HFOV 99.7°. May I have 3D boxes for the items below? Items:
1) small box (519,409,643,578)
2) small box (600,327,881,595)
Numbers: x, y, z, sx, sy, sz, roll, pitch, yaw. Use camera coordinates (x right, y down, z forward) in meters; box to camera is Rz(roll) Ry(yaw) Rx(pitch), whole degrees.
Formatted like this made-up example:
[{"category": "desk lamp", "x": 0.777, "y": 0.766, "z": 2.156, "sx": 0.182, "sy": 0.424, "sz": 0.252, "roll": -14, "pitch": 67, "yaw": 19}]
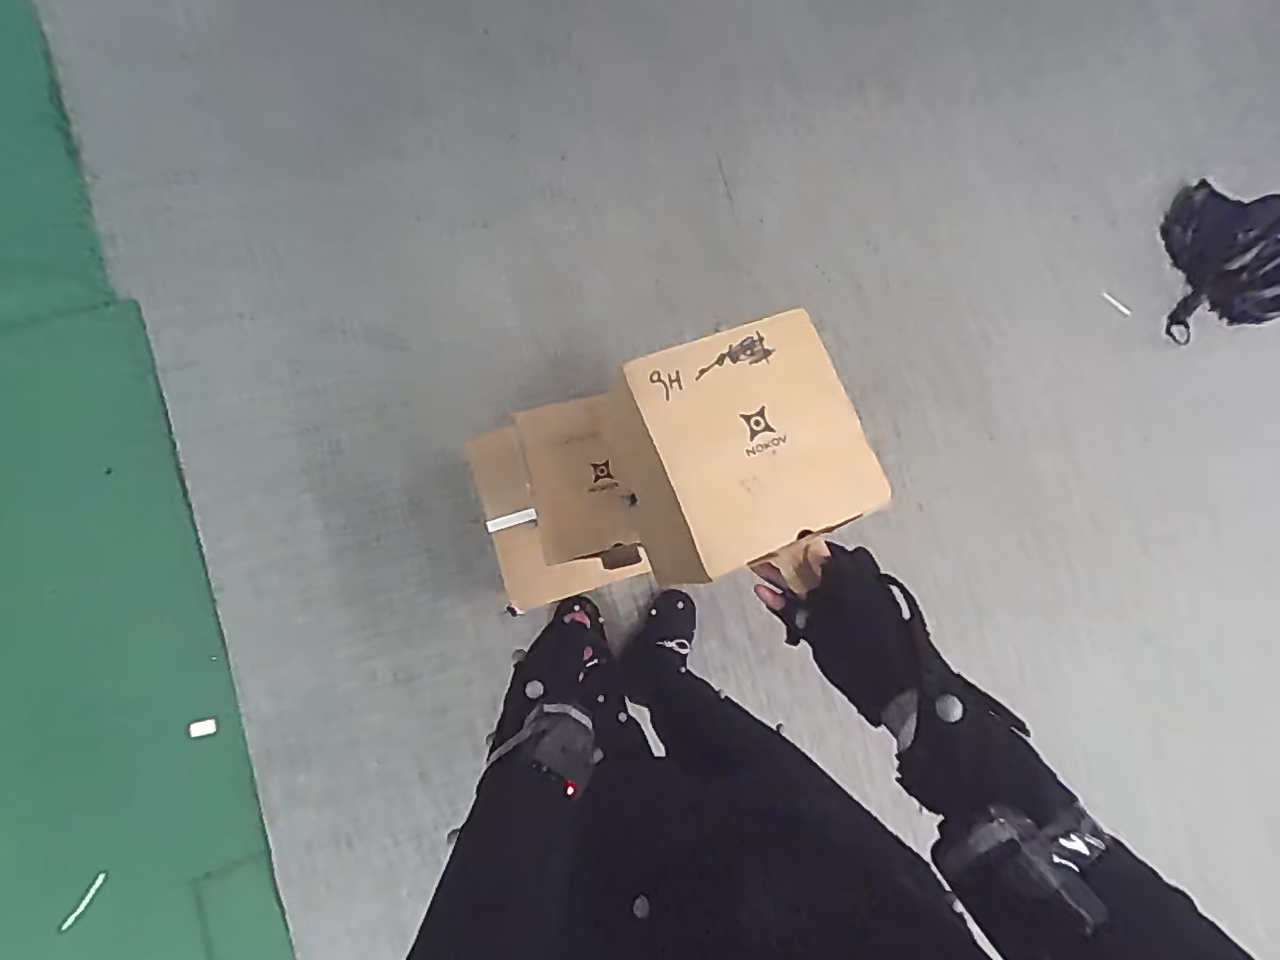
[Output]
[{"category": "small box", "x": -0.051, "y": 0.009, "z": 0.689, "sx": 0.168, "sy": 0.176, "sz": 0.179, "roll": -13, "pitch": 91, "yaw": -10}, {"category": "small box", "x": 0.074, "y": -0.007, "z": 0.497, "sx": 0.168, "sy": 0.176, "sz": 0.179, "roll": -20, "pitch": 83, "yaw": -15}]
